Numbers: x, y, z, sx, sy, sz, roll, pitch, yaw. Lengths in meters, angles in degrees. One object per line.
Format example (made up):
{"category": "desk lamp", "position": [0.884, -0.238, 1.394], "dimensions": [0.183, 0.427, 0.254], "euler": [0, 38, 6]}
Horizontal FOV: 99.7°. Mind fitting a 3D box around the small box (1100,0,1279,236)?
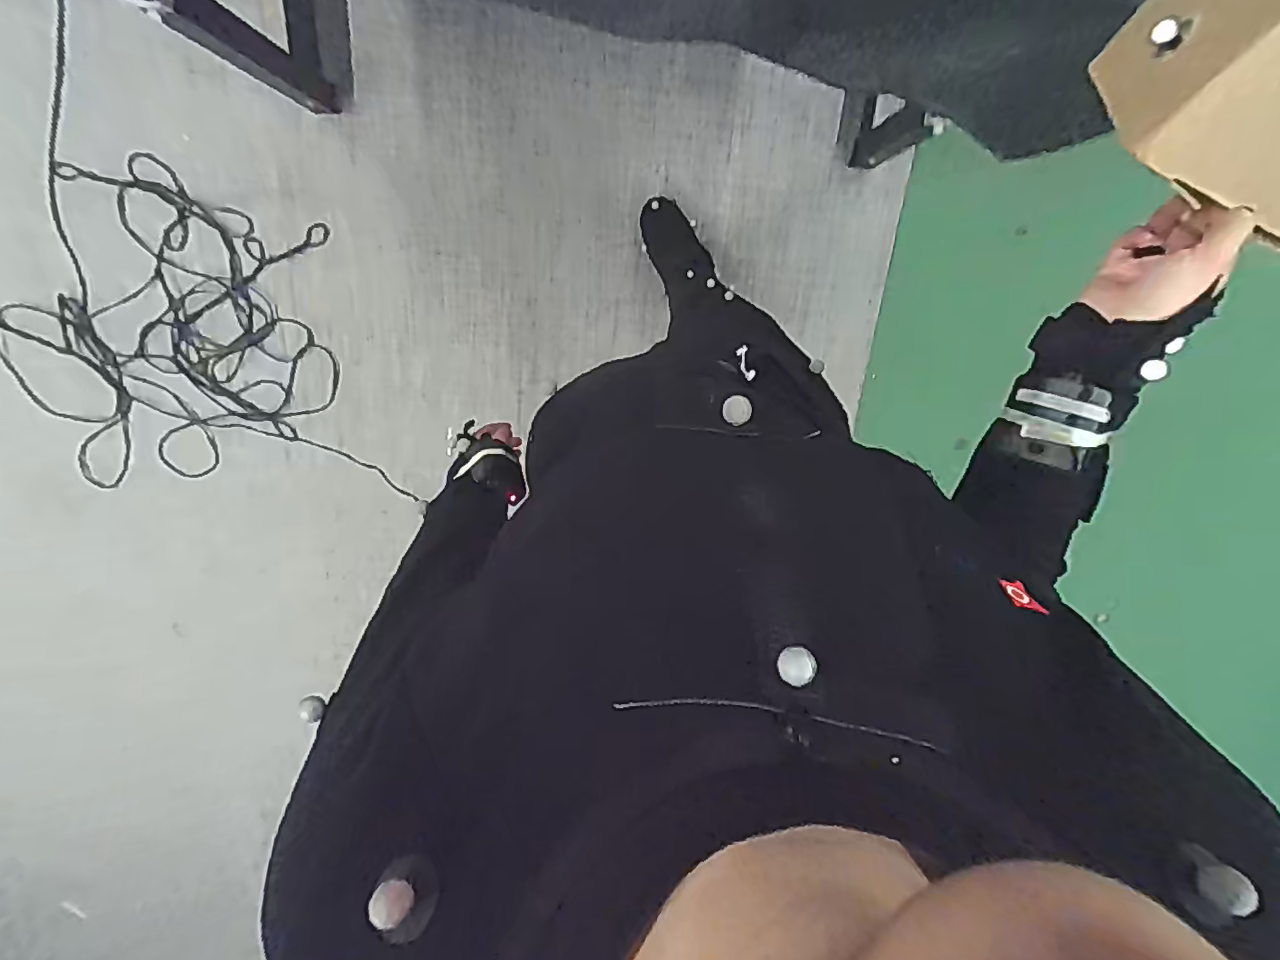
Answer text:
{"category": "small box", "position": [0.418, -0.273, 0.314], "dimensions": [0.168, 0.176, 0.179], "euler": [23, 144, -4]}
